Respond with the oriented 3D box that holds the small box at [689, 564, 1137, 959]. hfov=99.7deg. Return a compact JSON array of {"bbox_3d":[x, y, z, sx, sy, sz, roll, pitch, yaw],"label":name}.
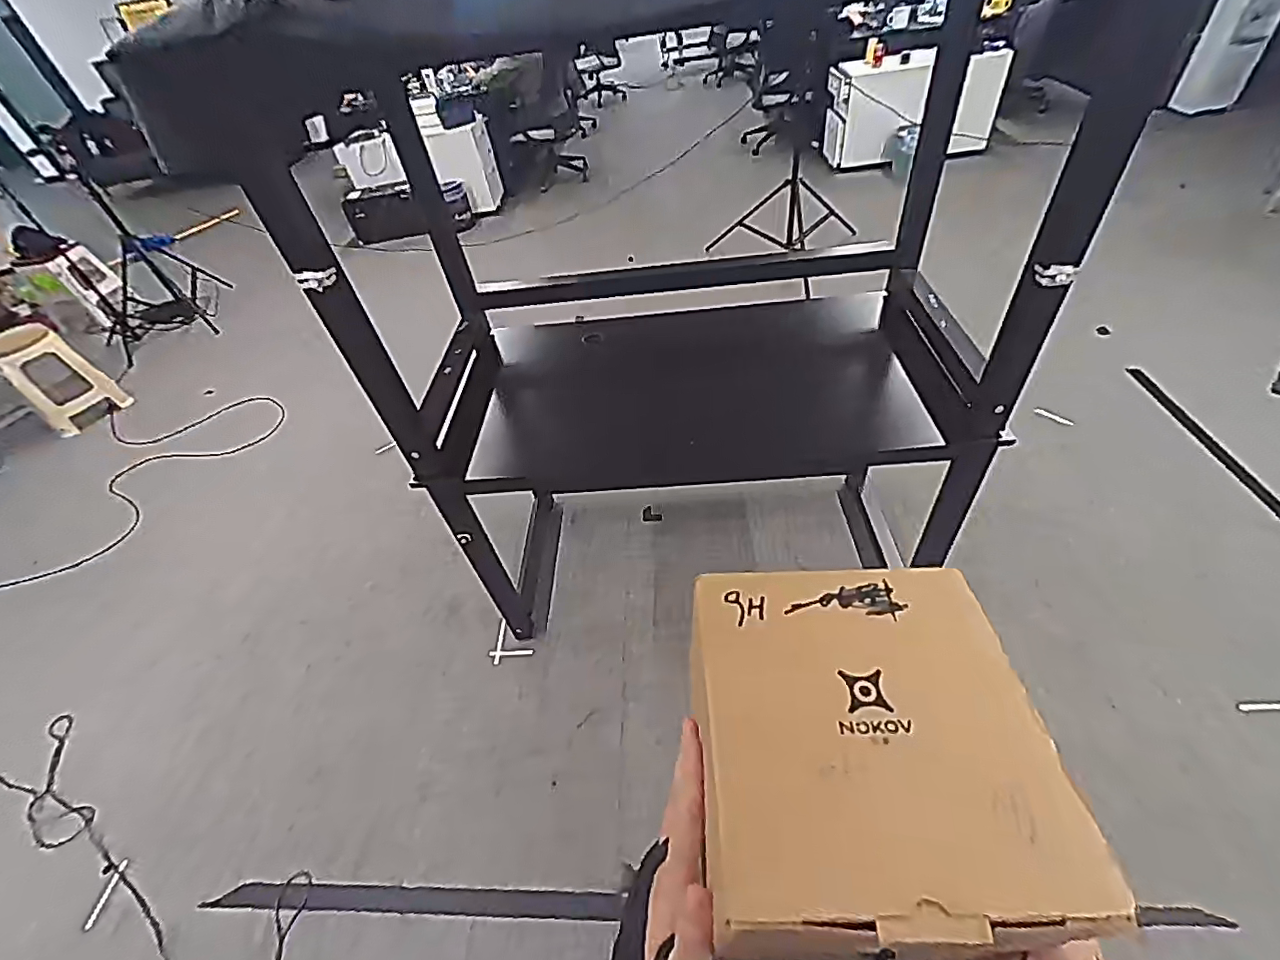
[{"bbox_3d":[0.118,0.170,0.327,0.168,0.176,0.179,-1,45,1],"label":"small box"}]
